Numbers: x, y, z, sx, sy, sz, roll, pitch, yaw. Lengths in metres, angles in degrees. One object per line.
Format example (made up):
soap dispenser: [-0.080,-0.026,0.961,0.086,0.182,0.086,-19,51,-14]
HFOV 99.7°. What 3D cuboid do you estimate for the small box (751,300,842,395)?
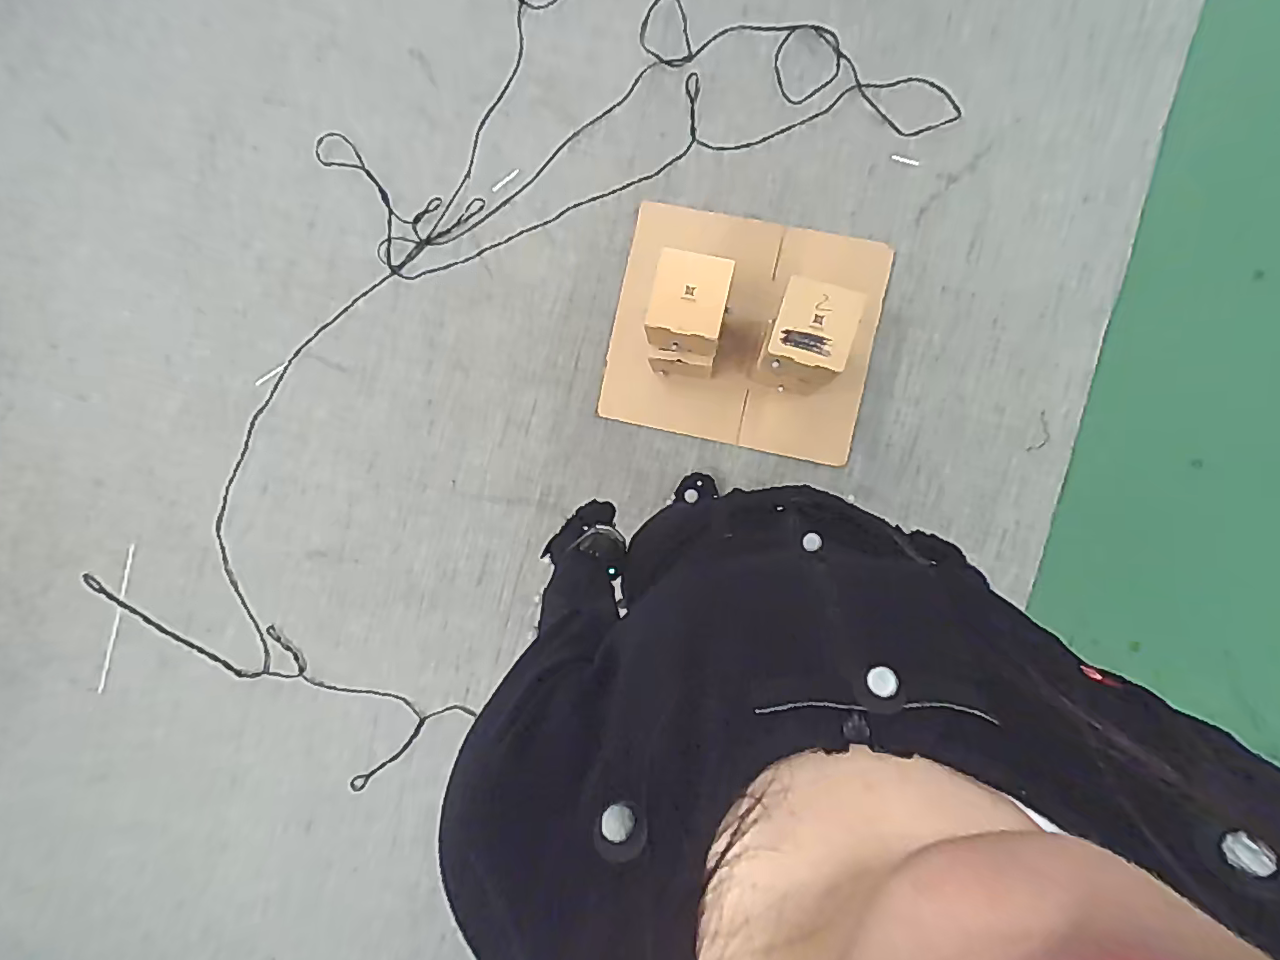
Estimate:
small box: [0.389,-0.331,1.378,0.168,0.176,0.179,17,92,6]

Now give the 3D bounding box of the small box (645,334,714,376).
small box: [0.115,-0.376,1.400,0.168,0.176,0.179,10,91,5]

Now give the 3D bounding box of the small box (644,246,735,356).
small box: [0.110,-0.401,1.237,0.168,0.176,0.179,13,91,5]
